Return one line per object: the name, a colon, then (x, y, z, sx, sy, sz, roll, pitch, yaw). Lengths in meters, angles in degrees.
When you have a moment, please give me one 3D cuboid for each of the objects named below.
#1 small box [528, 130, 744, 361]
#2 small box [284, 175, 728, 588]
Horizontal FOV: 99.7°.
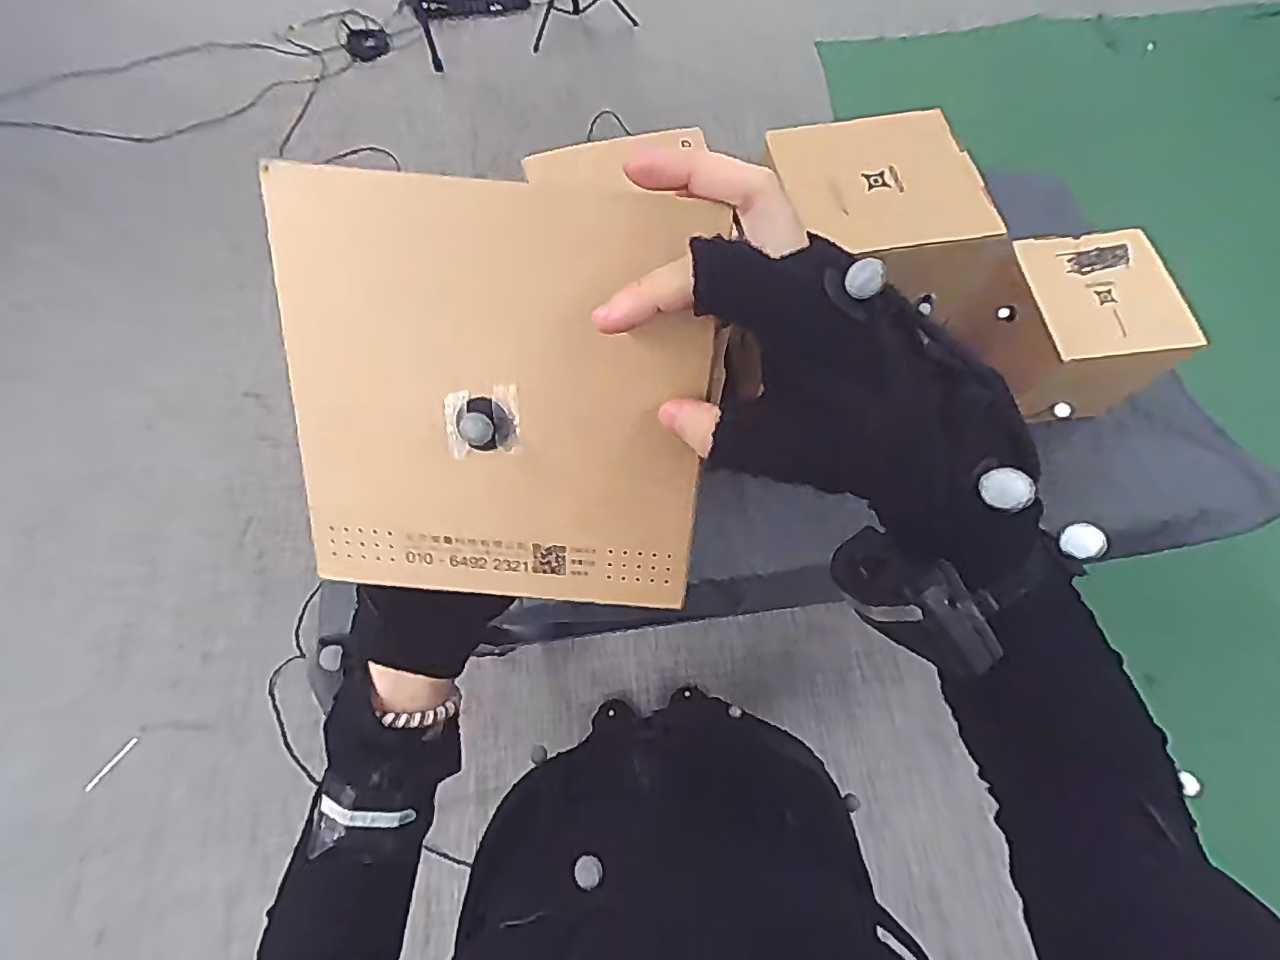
small box: (-0.004, -0.218, 0.566, 0.179, 0.176, 0.168, -12, 70, -2)
small box: (-0.049, -0.056, 0.299, 0.168, 0.179, 0.176, 4, 110, 0)
